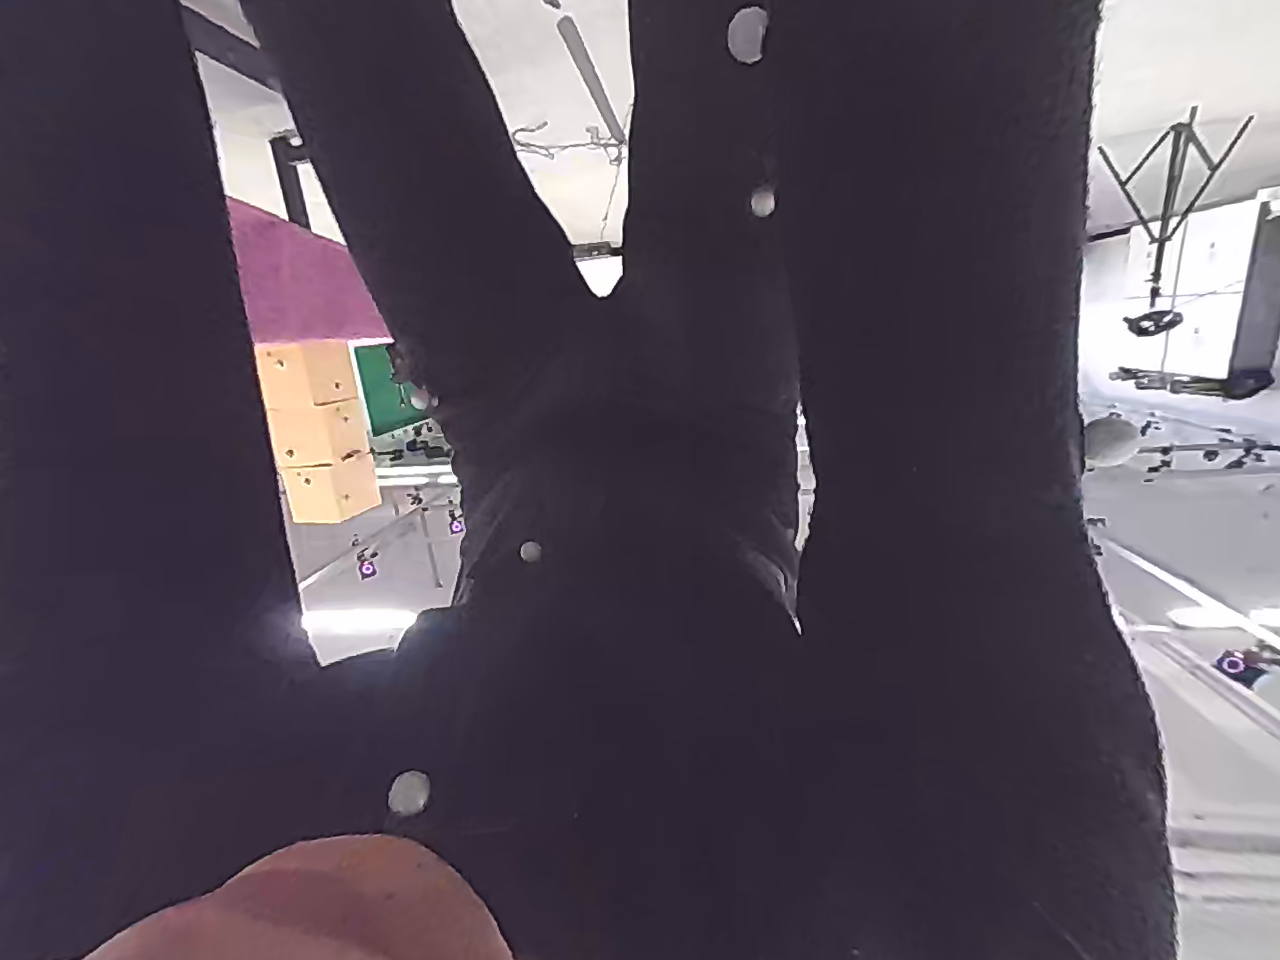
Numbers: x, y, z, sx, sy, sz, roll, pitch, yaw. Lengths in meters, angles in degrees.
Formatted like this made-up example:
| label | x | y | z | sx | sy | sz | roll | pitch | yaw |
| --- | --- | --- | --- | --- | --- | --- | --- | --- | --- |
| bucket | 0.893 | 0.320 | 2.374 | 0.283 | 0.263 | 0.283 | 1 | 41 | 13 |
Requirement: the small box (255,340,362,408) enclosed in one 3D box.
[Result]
| label | x | y | z | sx | sy | sz | roll | pitch | yaw |
| --- | --- | --- | --- | --- | --- | --- | --- | --- | --- |
| small box | -0.922 | -0.300 | 1.513 | 0.168 | 0.176 | 0.179 | -2 | -165 | 13 |

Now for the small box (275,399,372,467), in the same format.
| label | x | y | z | sx | sy | sz | roll | pitch | yaw |
| --- | --- | --- | --- | --- | --- | --- | --- | --- | --- |
| small box | -0.911 | -0.142 | 1.558 | 0.179 | 0.176 | 0.168 | -3 | -164 | 8 |
